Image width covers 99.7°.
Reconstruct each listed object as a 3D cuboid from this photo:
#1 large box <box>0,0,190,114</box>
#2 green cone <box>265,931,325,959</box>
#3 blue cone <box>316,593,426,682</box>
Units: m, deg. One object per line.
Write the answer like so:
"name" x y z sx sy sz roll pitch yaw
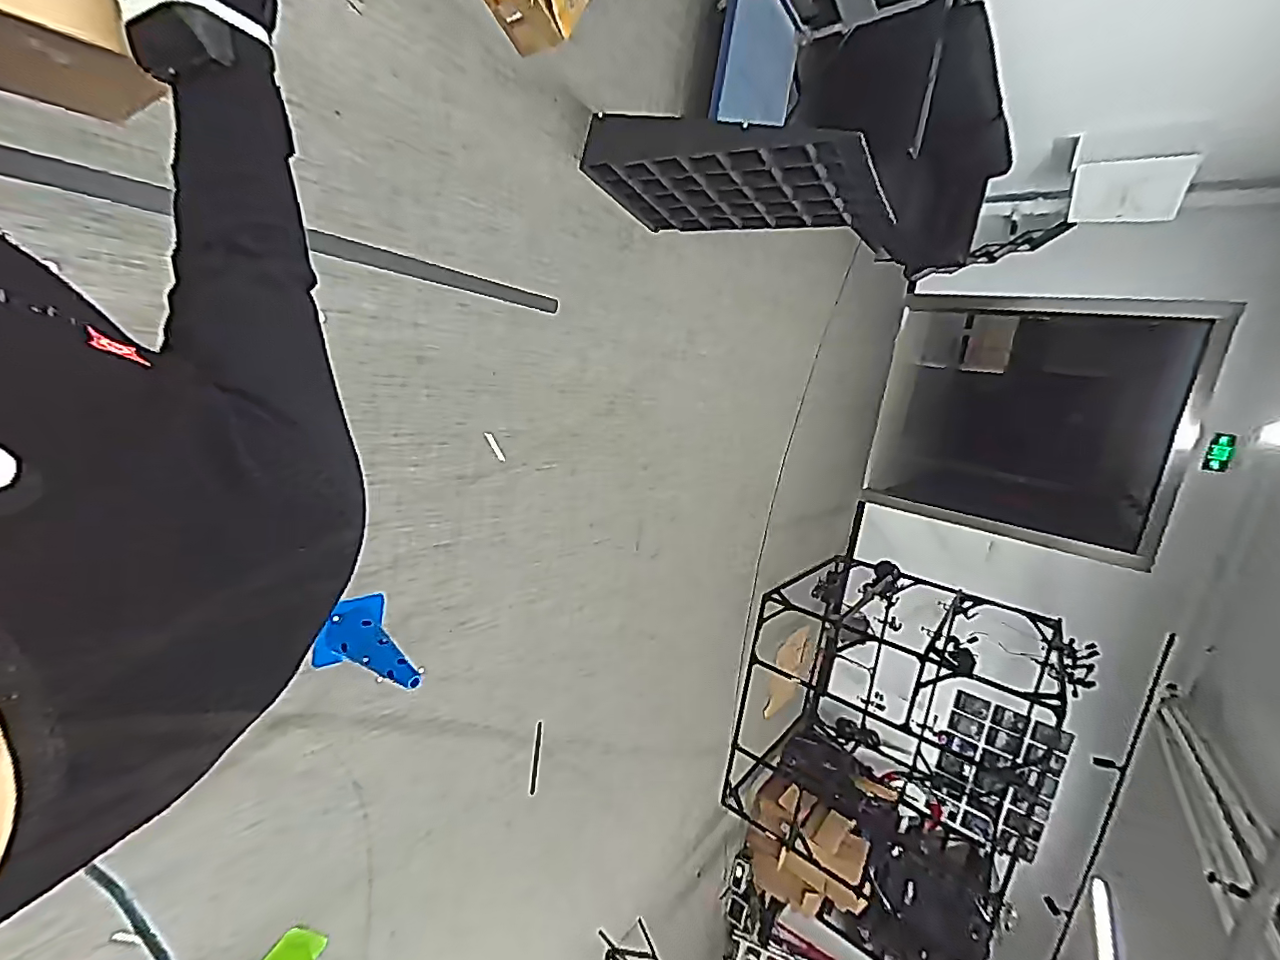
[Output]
"large box" -0.553 -0.467 0.298 0.408 0.320 0.320 -10 114 -50
"green cone" -0.991 1.583 1.609 0.202 0.368 0.200 -50 139 -33
"blue cone" -0.742 0.482 1.537 0.192 0.380 0.193 -1 104 -55
